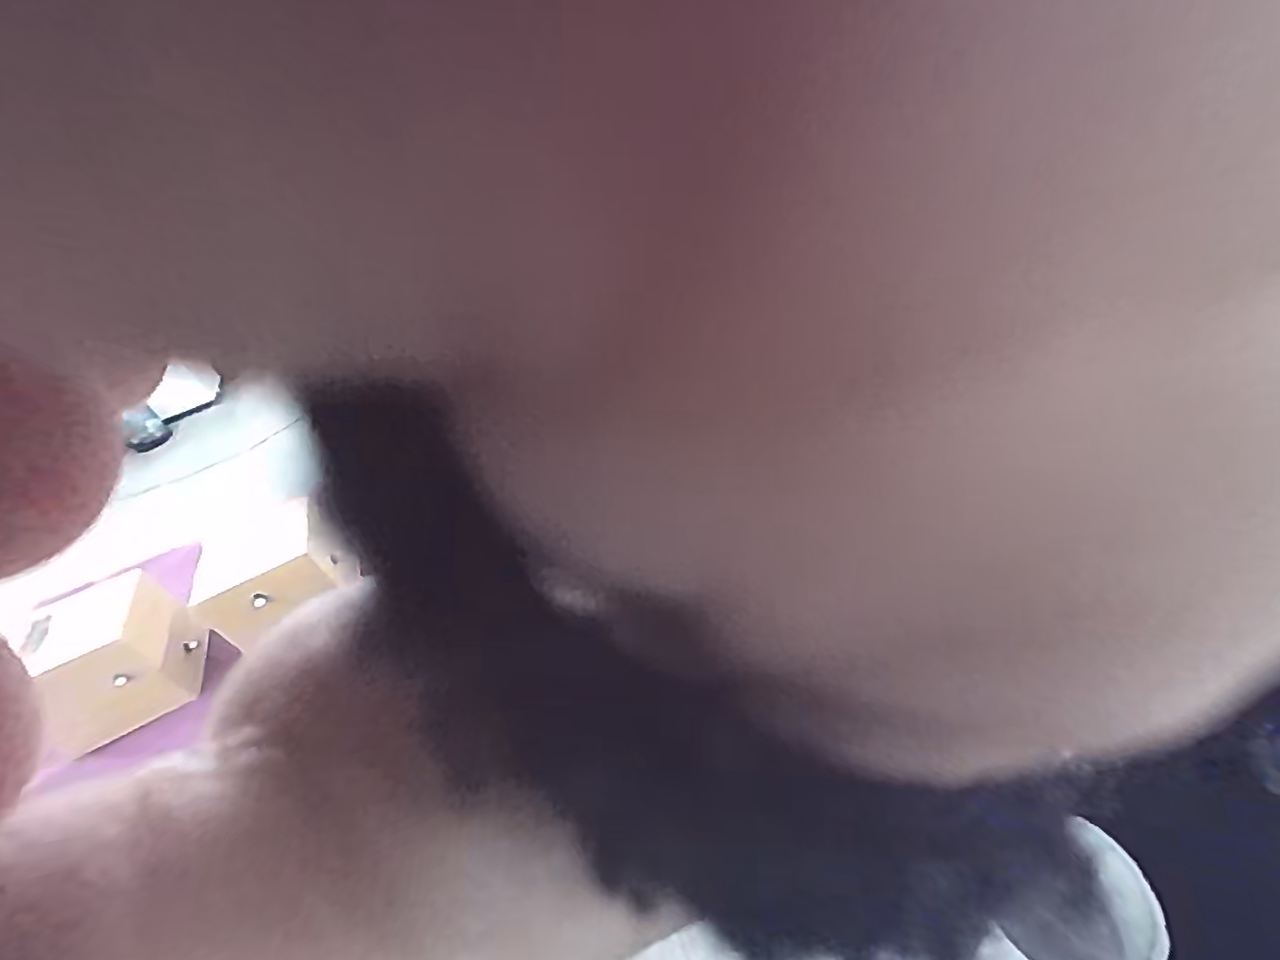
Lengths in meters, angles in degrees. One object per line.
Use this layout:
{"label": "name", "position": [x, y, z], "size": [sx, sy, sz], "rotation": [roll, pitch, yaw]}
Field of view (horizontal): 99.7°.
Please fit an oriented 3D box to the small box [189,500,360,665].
{"label": "small box", "position": [-0.592, 0.171, 0.906], "size": [0.179, 0.176, 0.168], "rotation": [-27, 41, -12]}
